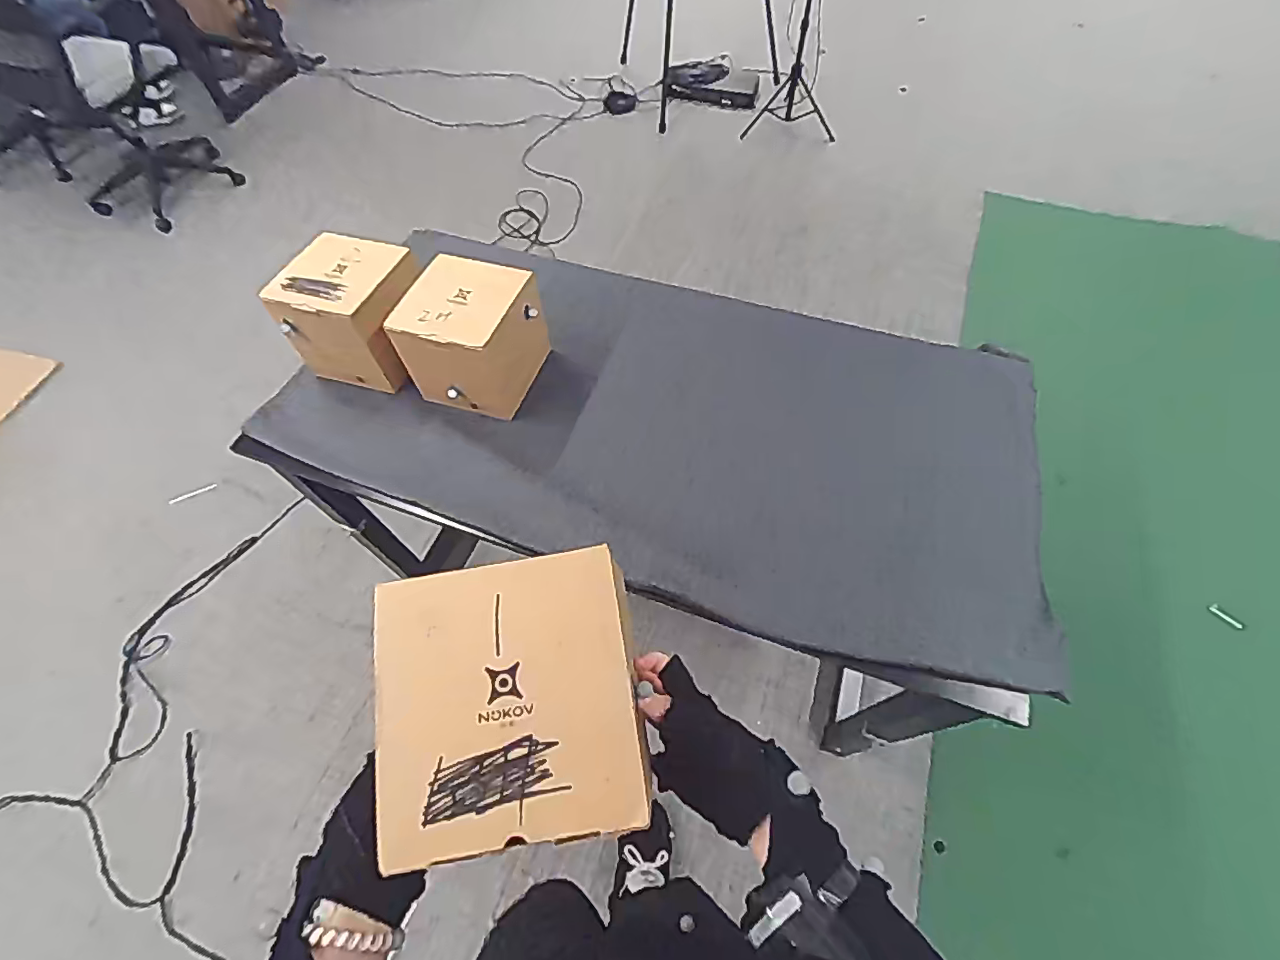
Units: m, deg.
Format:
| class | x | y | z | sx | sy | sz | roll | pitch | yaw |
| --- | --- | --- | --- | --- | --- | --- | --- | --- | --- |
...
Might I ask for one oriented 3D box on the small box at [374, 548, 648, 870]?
| class | x | y | z | sx | sy | sz | roll | pitch | yaw |
| --- | --- | --- | --- | --- | --- | --- | --- | --- | --- |
| small box | -0.087 | 0.164 | 0.425 | 0.168 | 0.176 | 0.179 | -9 | 71 | -2 |
